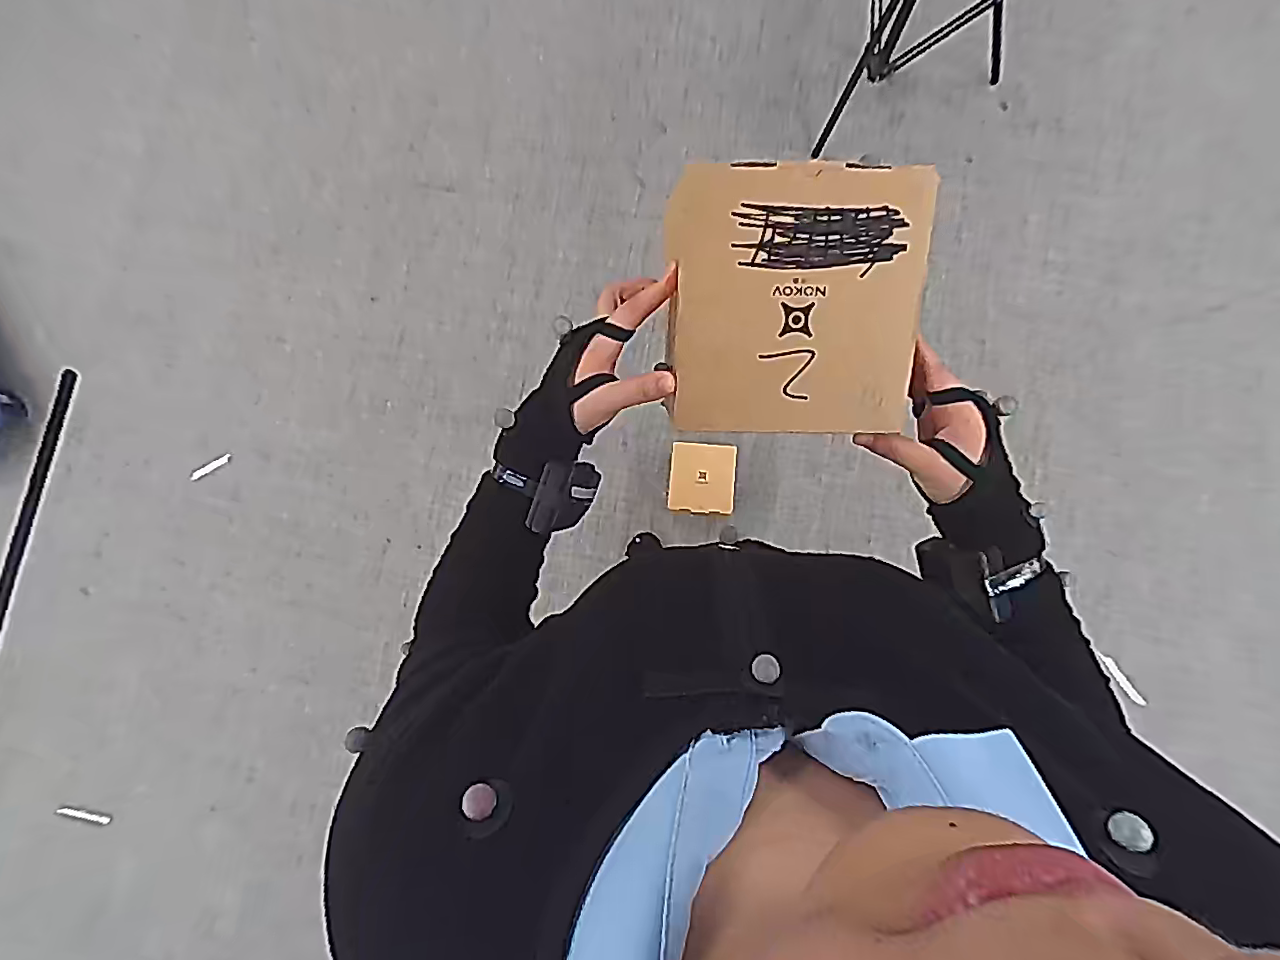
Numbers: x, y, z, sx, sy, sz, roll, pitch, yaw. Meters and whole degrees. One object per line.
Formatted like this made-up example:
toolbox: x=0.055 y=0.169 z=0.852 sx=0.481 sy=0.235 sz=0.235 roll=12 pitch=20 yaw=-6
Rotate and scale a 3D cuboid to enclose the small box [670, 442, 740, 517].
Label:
small box: x=0.168 y=0.003 z=1.443 sx=0.168 sy=0.176 sz=0.179 roll=4 pitch=84 yaw=4
